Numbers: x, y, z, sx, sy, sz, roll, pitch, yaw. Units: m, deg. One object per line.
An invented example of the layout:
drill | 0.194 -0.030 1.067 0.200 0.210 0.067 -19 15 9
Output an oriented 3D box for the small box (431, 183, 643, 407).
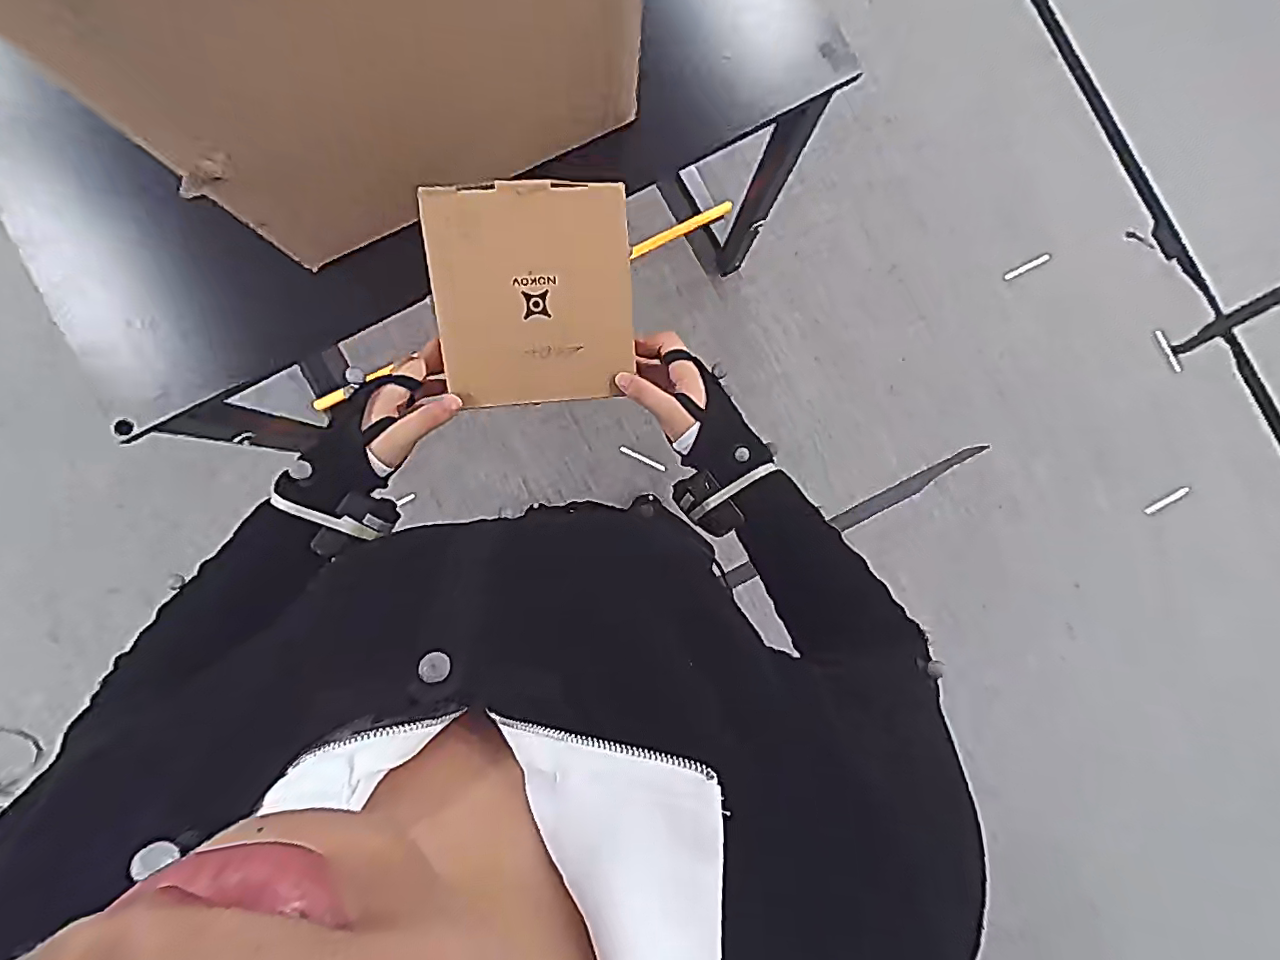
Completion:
small box | -0.095 -0.174 0.531 0.168 0.176 0.179 -6 107 -8
